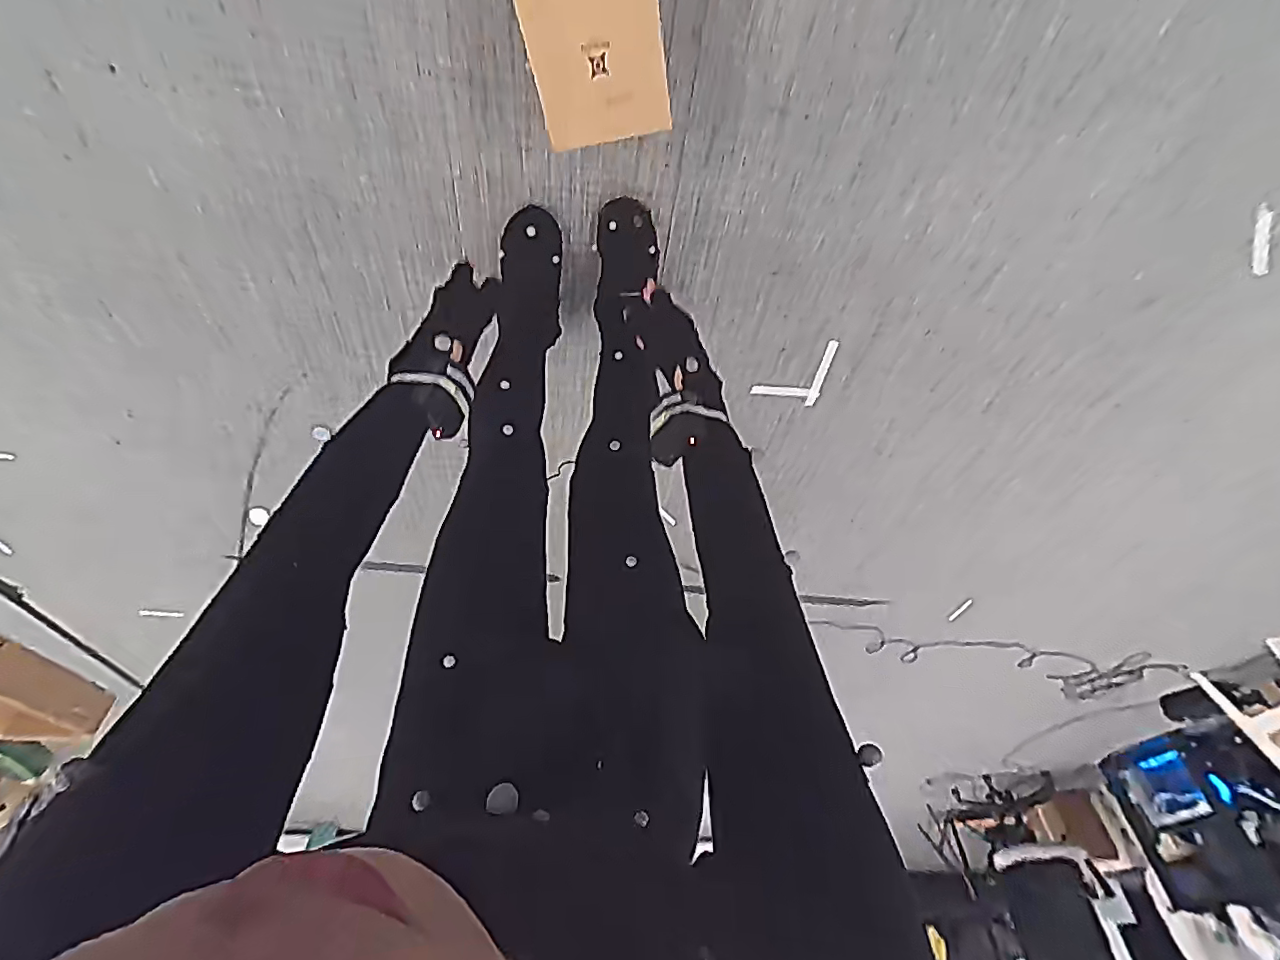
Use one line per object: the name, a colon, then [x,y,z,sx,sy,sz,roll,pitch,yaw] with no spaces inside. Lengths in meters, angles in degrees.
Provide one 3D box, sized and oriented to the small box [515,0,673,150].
small box: [-0.051,-0.571,0.714,0.168,0.176,0.179,-7,137,9]
